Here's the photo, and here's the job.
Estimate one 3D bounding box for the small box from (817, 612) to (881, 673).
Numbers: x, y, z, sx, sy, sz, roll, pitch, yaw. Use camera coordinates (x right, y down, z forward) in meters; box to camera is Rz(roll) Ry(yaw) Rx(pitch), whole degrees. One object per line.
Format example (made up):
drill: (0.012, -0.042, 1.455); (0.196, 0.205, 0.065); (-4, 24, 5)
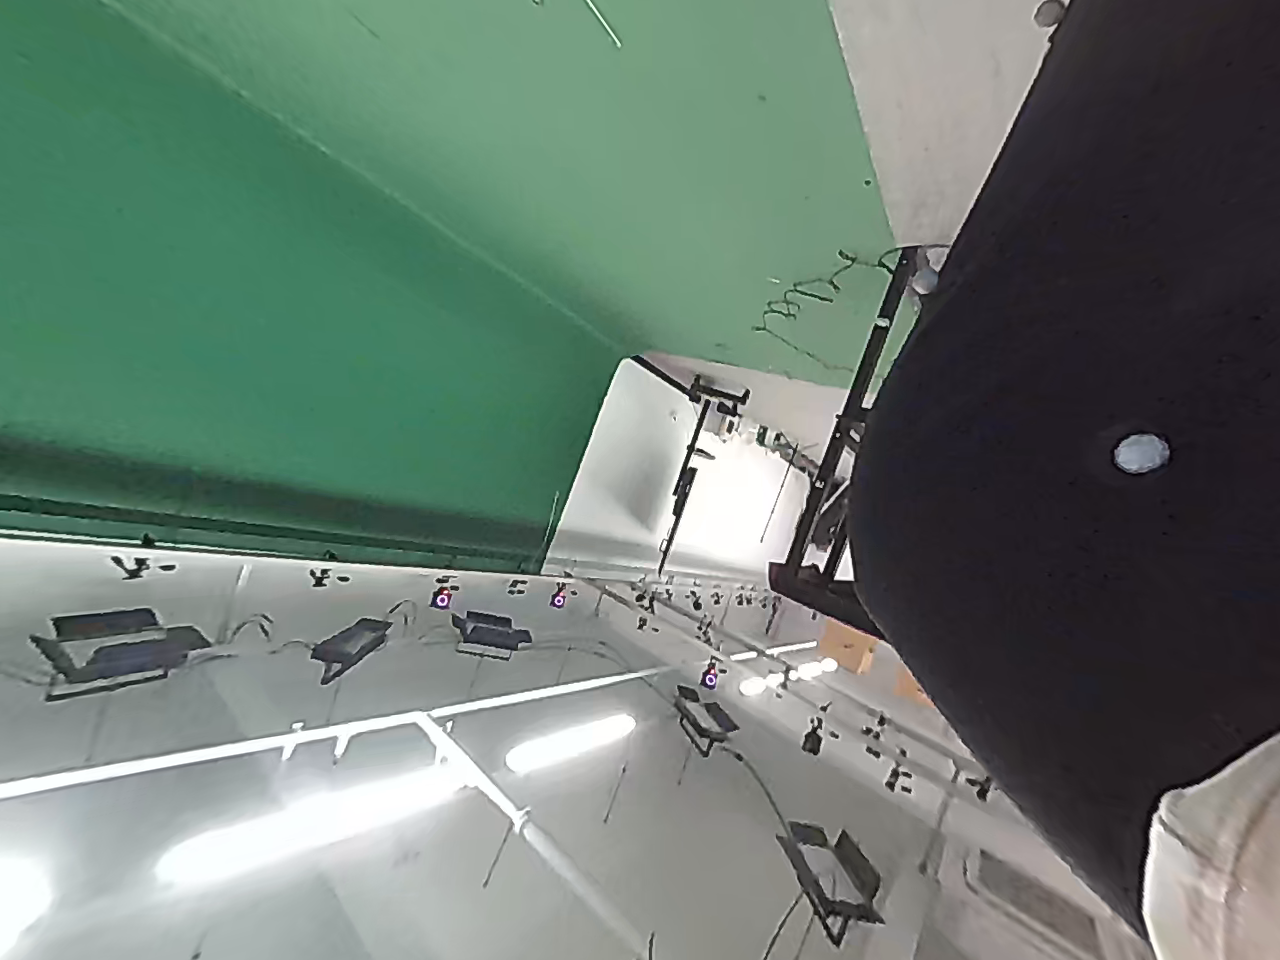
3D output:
small box: (0.807, 0.616, 2.073); (0.179, 0.176, 0.168); (18, 179, 37)
